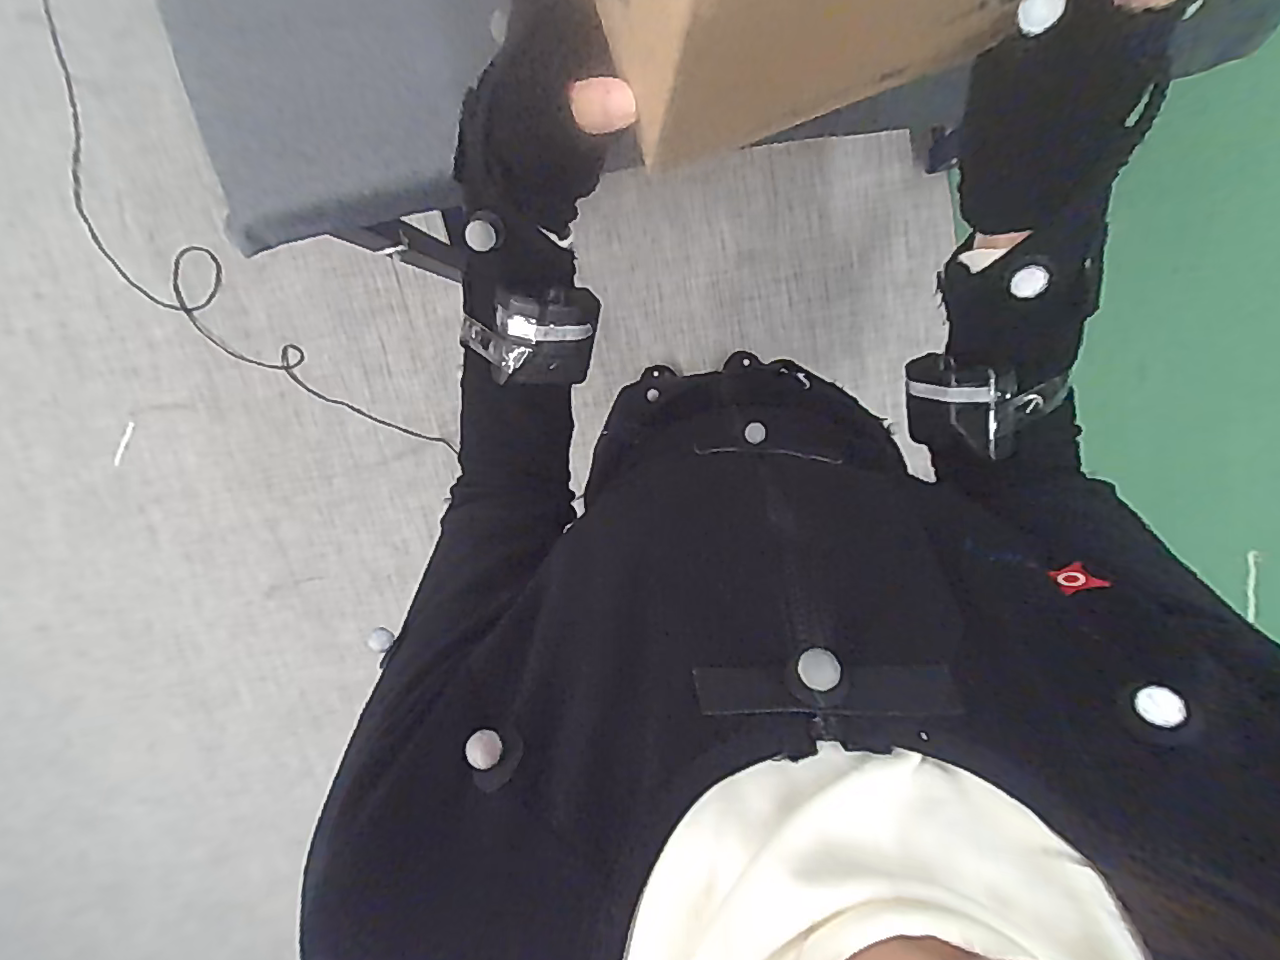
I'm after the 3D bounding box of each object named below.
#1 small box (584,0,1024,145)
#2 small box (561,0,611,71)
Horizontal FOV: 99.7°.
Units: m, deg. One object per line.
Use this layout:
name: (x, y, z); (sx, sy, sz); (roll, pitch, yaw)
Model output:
small box: (0.054, -0.226, 0.153); (0.168, 0.176, 0.179); (-21, 106, 3)
small box: (0.002, -0.526, 0.507); (0.179, 0.176, 0.168); (-8, 100, 4)
